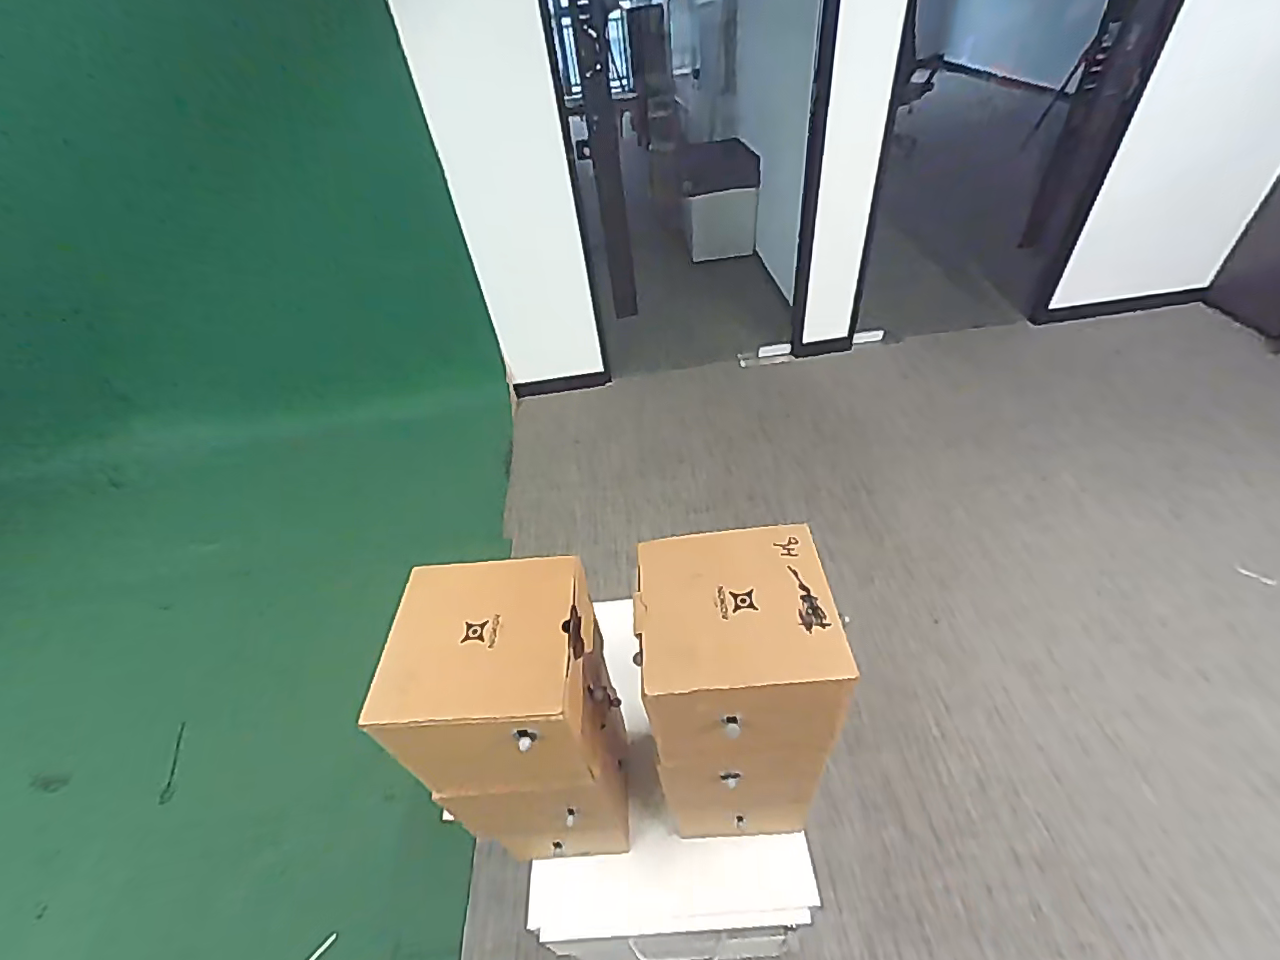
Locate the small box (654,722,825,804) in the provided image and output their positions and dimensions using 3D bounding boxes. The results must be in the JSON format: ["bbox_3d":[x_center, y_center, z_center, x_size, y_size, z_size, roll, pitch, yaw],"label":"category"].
[{"bbox_3d":[0.112,0.280,0.660,0.179,0.176,0.168,-6,44,4],"label":"small box"}]

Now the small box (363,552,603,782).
[{"bbox_3d":[-0.138,0.194,0.554,0.179,0.176,0.168,-4,43,2],"label":"small box"}]

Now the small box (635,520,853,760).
[{"bbox_3d":[0.096,0.165,0.545,0.179,0.176,0.168,-8,44,5],"label":"small box"}]

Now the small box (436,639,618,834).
[{"bbox_3d":[-0.120,0.314,0.663,0.179,0.176,0.168,-6,43,2],"label":"small box"}]

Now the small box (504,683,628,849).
[{"bbox_3d":[-0.106,0.419,0.787,0.168,0.176,0.179,-4,44,1],"label":"small box"}]
